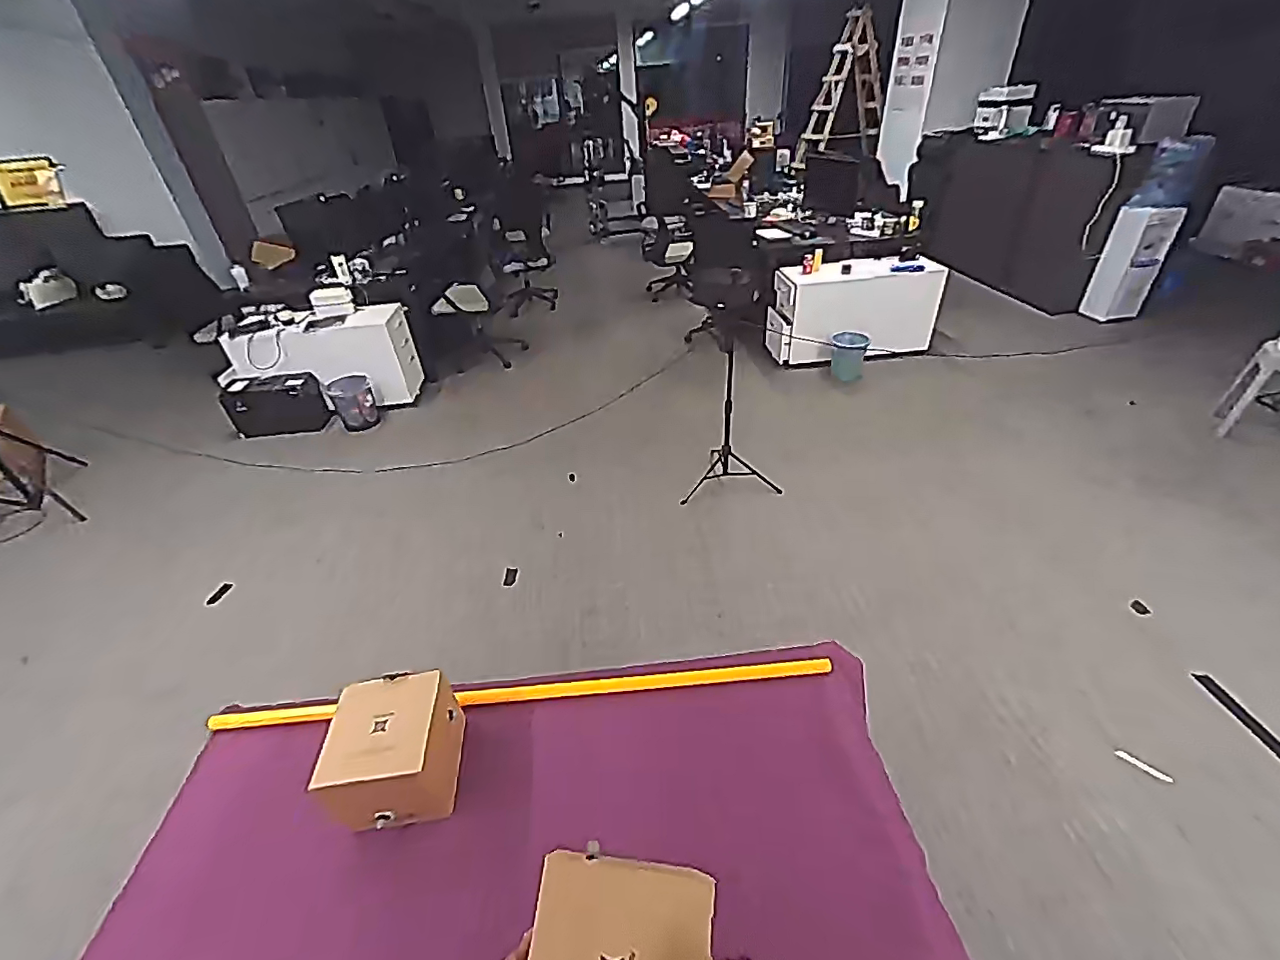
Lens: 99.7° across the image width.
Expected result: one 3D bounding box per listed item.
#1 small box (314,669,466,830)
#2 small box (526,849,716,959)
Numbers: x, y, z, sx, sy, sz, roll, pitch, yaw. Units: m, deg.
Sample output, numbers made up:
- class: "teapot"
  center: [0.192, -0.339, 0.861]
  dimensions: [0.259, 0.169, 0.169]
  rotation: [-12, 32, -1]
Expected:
- class: "small box"
  center: [-0.401, 0.449, 0.906]
  dimensions: [0.168, 0.176, 0.179]
  rotation: [-7, 37, -3]
- class: "small box"
  center: [-0.023, 0.498, 0.568]
  dimensions: [0.179, 0.176, 0.168]
  rotation: [8, 57, 1]
